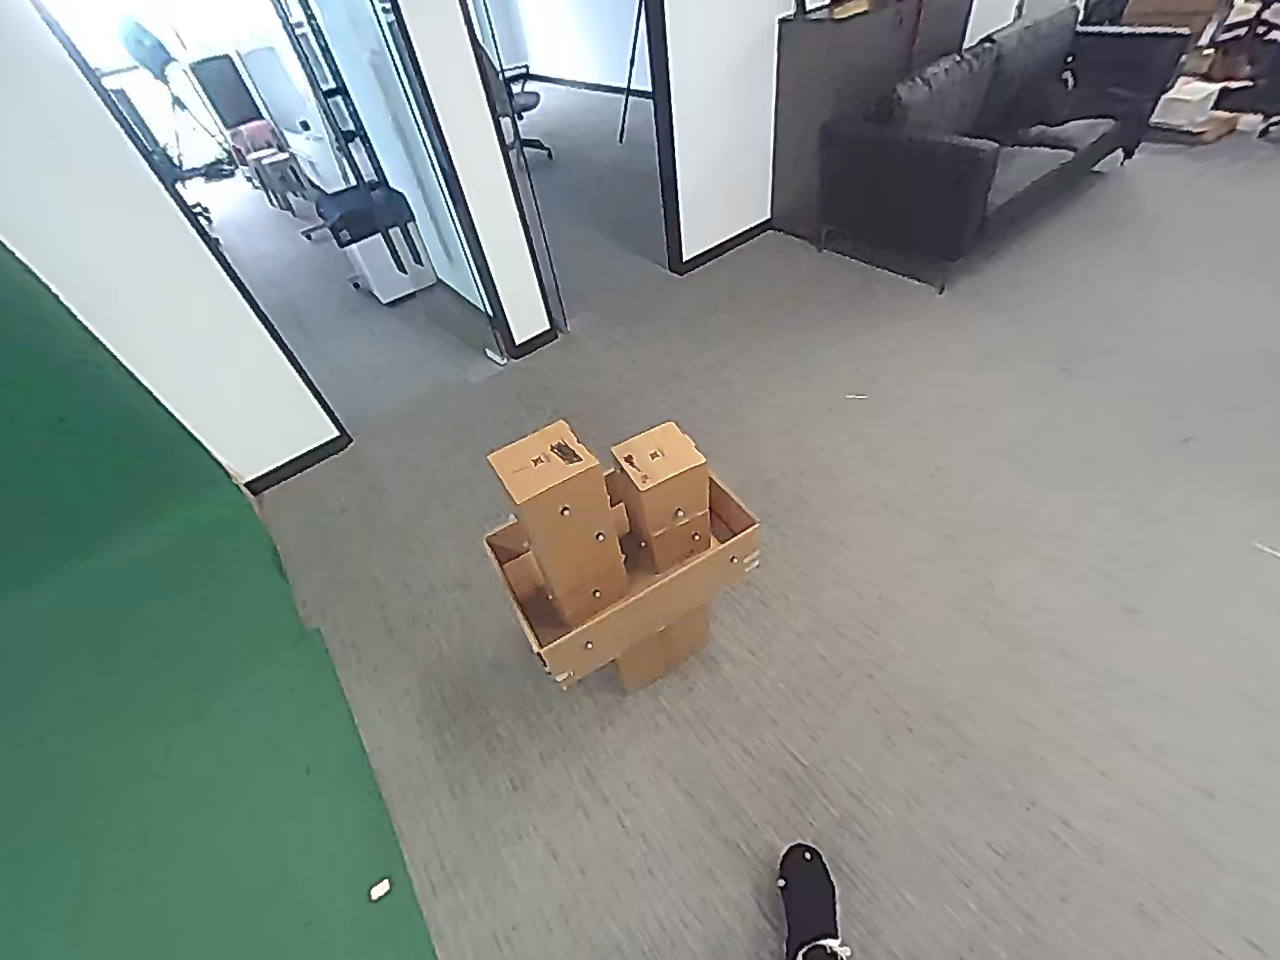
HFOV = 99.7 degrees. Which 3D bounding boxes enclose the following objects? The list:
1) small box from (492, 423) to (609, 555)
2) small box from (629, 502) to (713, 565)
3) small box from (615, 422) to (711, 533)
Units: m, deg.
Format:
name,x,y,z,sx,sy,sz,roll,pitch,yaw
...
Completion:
name,x,y,z,sx,sy,sz,roll,pitch,yaw
small box,-0.176,0.019,1.122,0.179,0.176,0.168,-29,49,-15
small box,0.083,0.102,1.440,0.168,0.176,0.179,-24,49,-12
small box,0.059,-0.004,1.320,0.179,0.176,0.168,-26,49,-12
